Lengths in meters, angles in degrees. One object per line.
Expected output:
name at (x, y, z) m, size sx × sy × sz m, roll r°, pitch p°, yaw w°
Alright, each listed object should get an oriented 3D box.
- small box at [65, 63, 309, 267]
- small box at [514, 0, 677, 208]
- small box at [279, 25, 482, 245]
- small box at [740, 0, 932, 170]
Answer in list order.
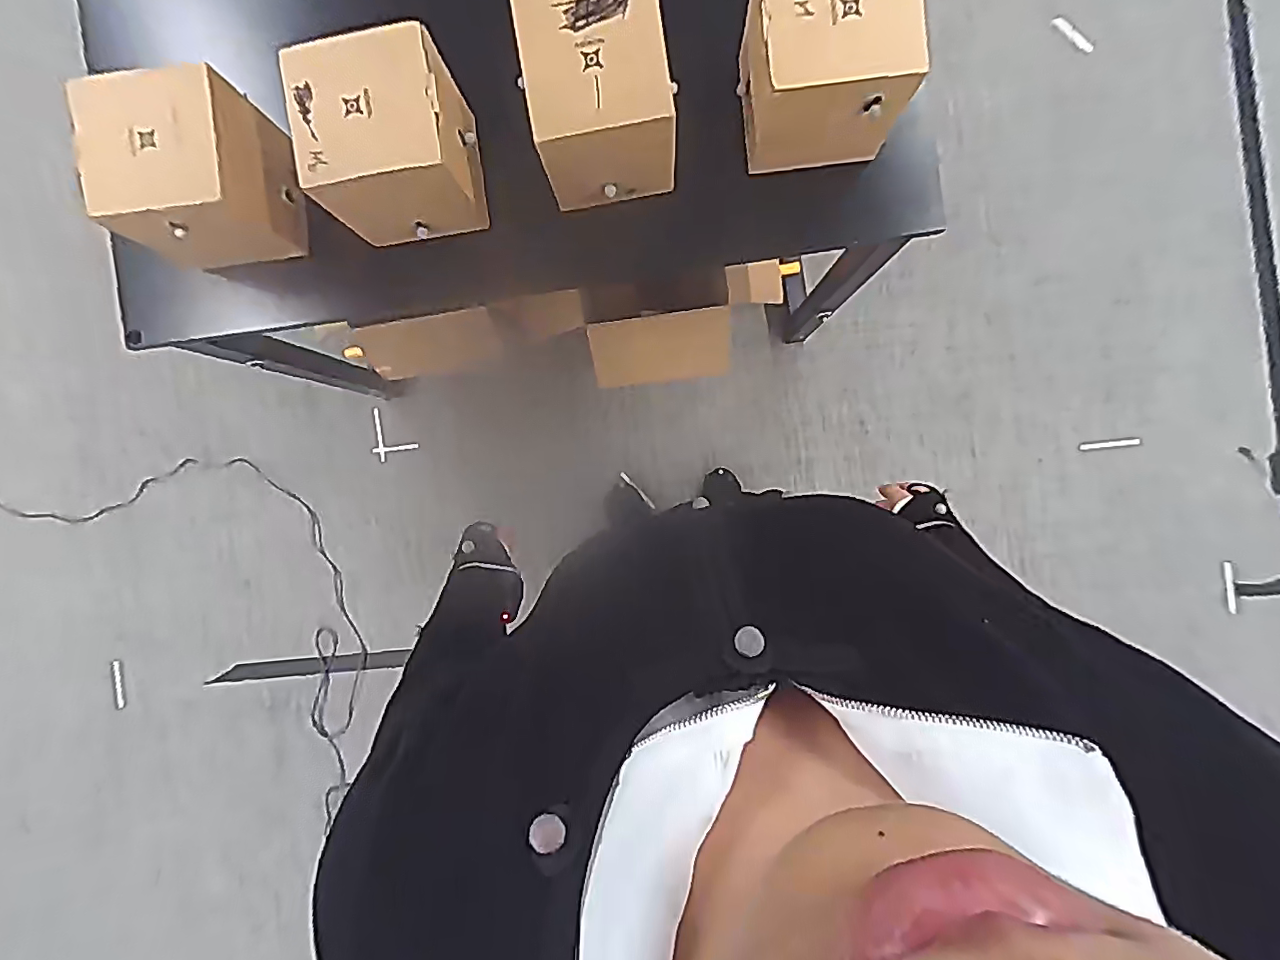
small box at (-0.576, -0.395, 0.709) m, size 0.179 × 0.176 × 0.168 m, roll -6°, pitch 91°, yaw 2°
small box at (-0.049, -0.480, 0.684) m, size 0.168 × 0.176 × 0.179 m, roll -9°, pitch 91°, yaw 3°
small box at (-0.315, -0.428, 0.698) m, size 0.179 × 0.176 × 0.168 m, roll -9°, pitch 90°, yaw 1°
small box at (0.229, -0.517, 0.670) m, size 0.179 × 0.176 × 0.168 m, roll -5°, pitch 90°, yaw 3°
